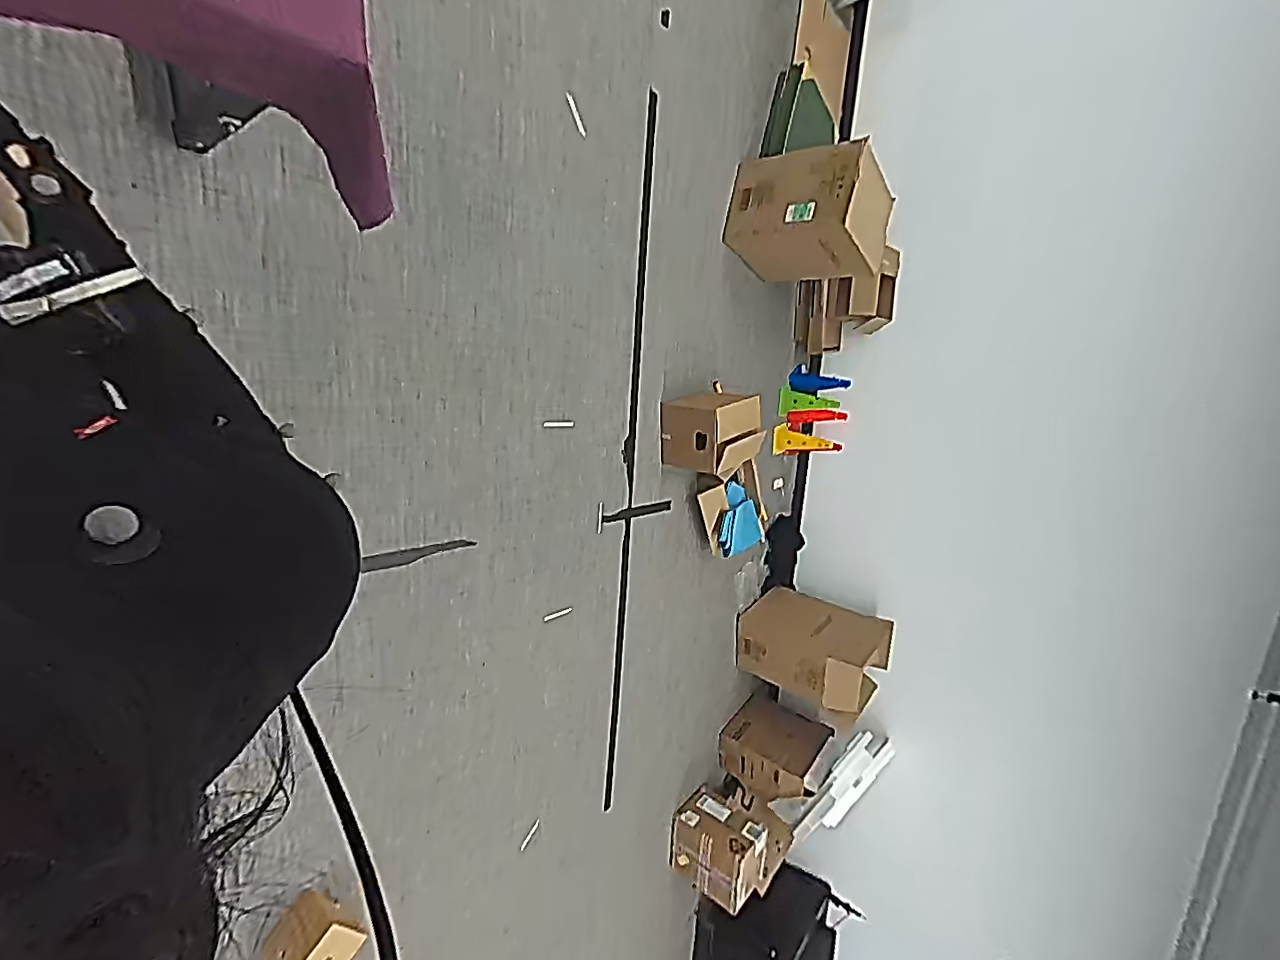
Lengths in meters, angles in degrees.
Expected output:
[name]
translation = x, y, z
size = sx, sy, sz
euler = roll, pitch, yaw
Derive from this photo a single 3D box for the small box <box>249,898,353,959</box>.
[small box]
translation = -0.980, 1.364, 1.554
size = 0.179, 0.176, 0.168
euler = -51, 137, -32
